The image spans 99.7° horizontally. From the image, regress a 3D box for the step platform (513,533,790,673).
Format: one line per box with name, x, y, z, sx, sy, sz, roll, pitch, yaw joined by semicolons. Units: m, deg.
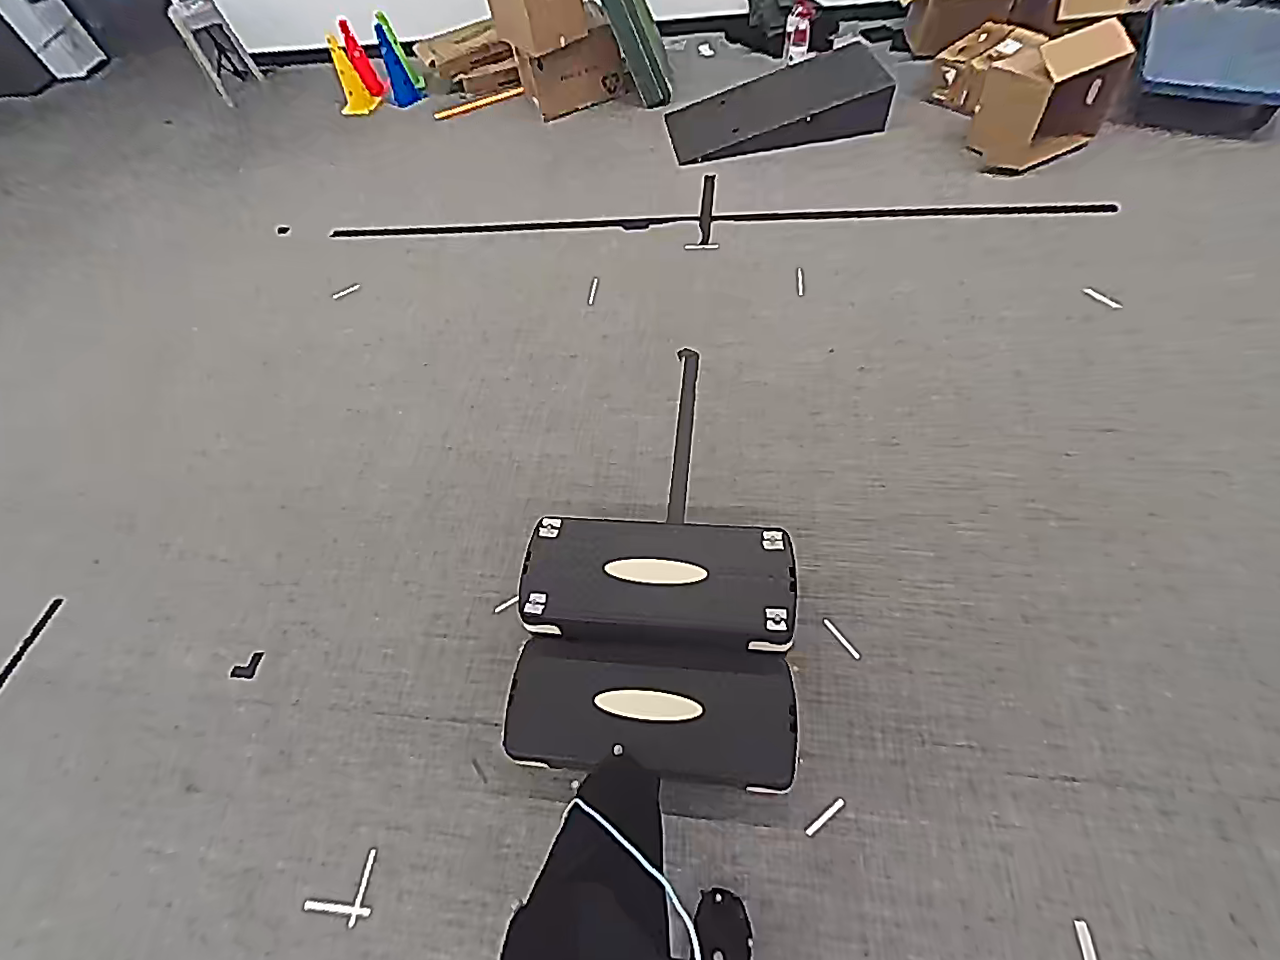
step platform;0.029;0.303;1.373;0.684;0.204;0.286;2;59;7
